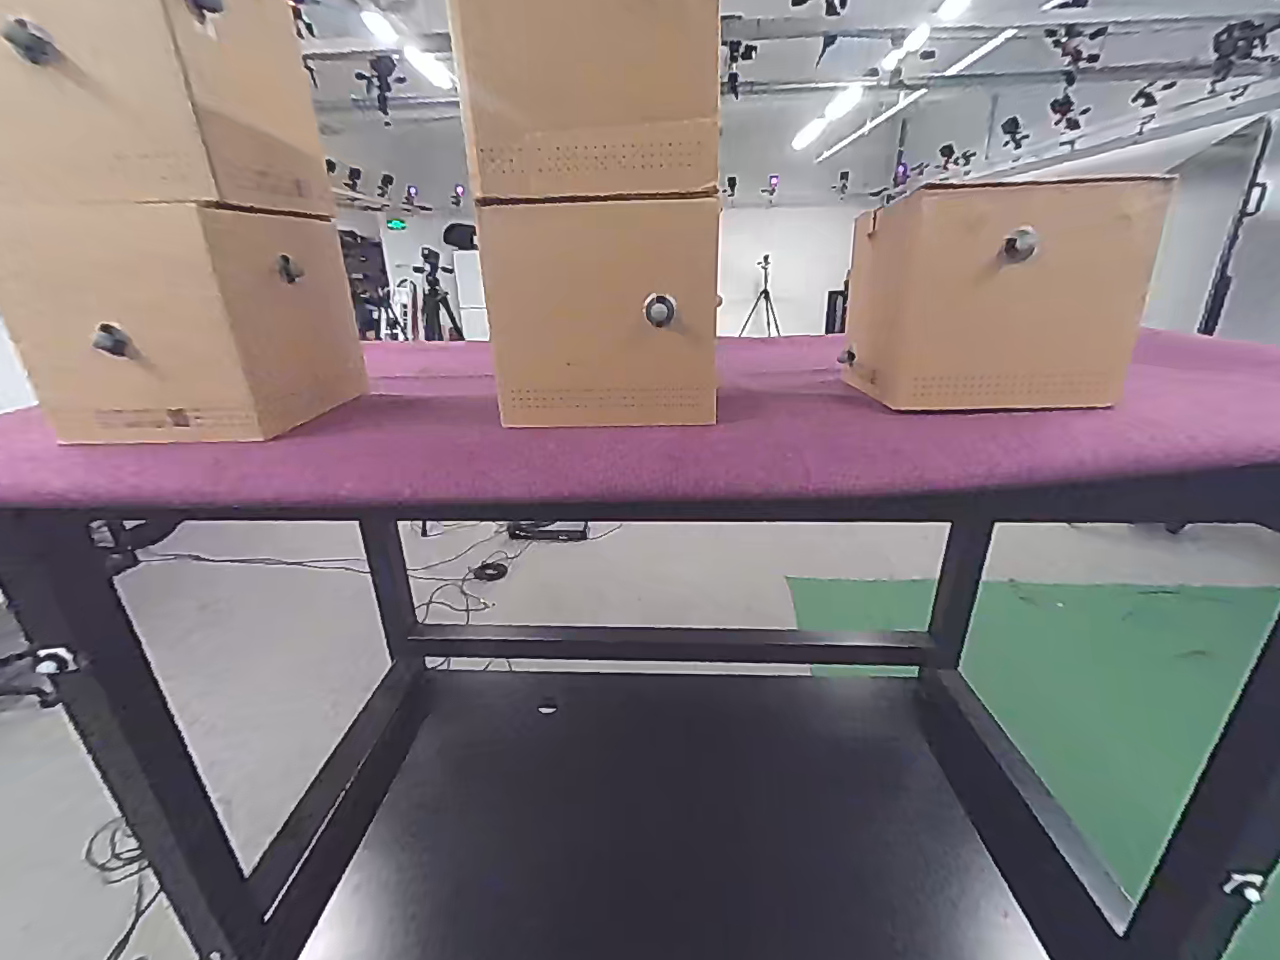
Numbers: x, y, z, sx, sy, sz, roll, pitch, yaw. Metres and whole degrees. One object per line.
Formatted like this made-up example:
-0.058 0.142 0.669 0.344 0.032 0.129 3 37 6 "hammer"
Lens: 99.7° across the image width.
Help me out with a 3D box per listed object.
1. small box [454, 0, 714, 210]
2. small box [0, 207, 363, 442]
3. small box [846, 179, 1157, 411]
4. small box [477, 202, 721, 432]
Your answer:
-0.036 -0.297 0.428 0.179 0.176 0.168 -1 20 0 "small box"
-0.368 -0.135 0.470 0.168 0.176 0.179 0 22 0 "small box"
0.297 -0.159 0.494 0.179 0.176 0.168 0 19 4 "small box"
-0.026 -0.144 0.485 0.179 0.176 0.168 -2 20 2 "small box"
